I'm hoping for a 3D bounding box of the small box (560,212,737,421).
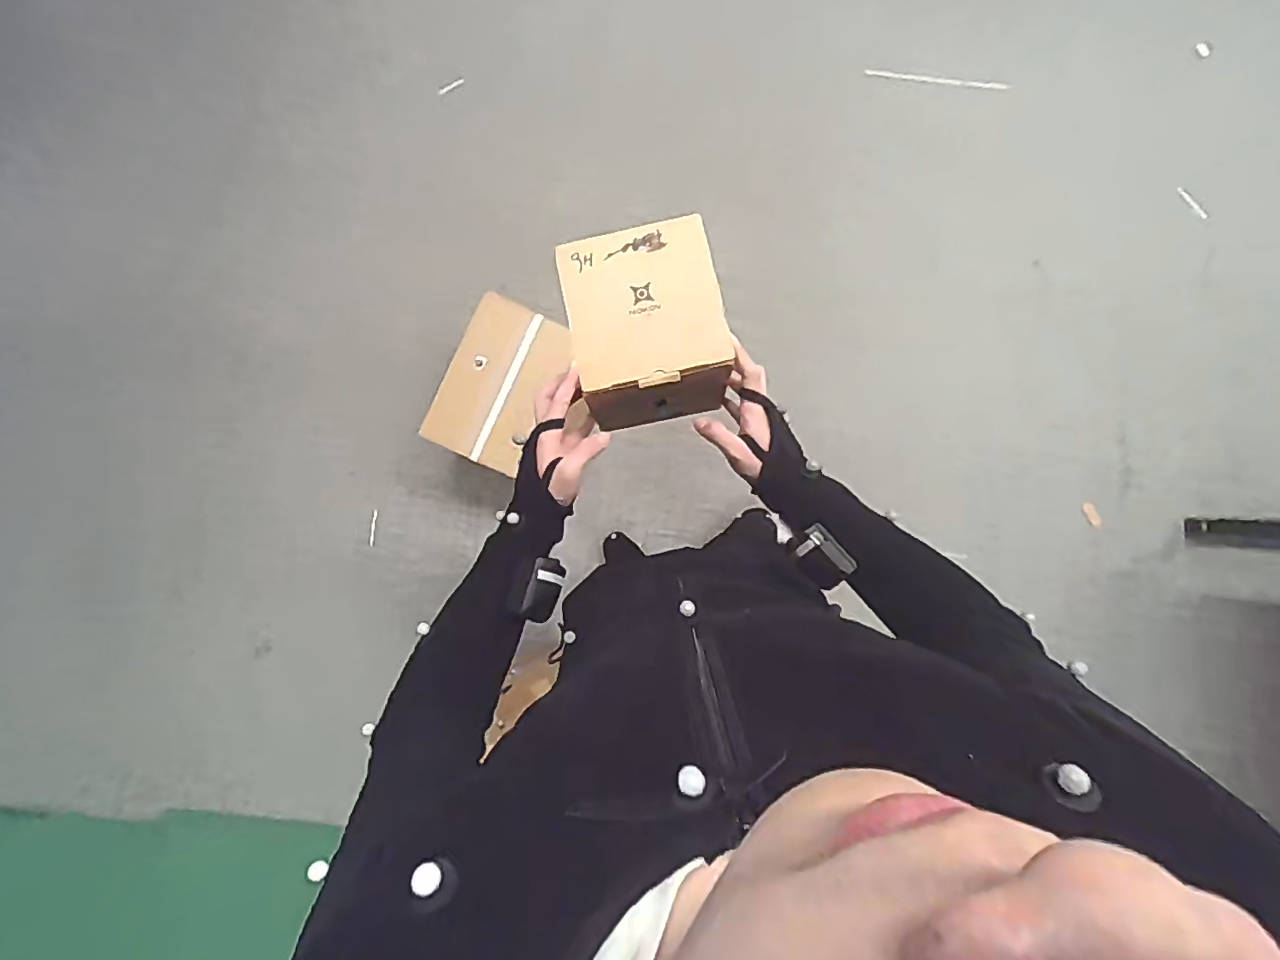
[{"bbox_3d":[0.012,-0.178,0.646,0.168,0.176,0.179,-11,81,1],"label":"small box"}]
